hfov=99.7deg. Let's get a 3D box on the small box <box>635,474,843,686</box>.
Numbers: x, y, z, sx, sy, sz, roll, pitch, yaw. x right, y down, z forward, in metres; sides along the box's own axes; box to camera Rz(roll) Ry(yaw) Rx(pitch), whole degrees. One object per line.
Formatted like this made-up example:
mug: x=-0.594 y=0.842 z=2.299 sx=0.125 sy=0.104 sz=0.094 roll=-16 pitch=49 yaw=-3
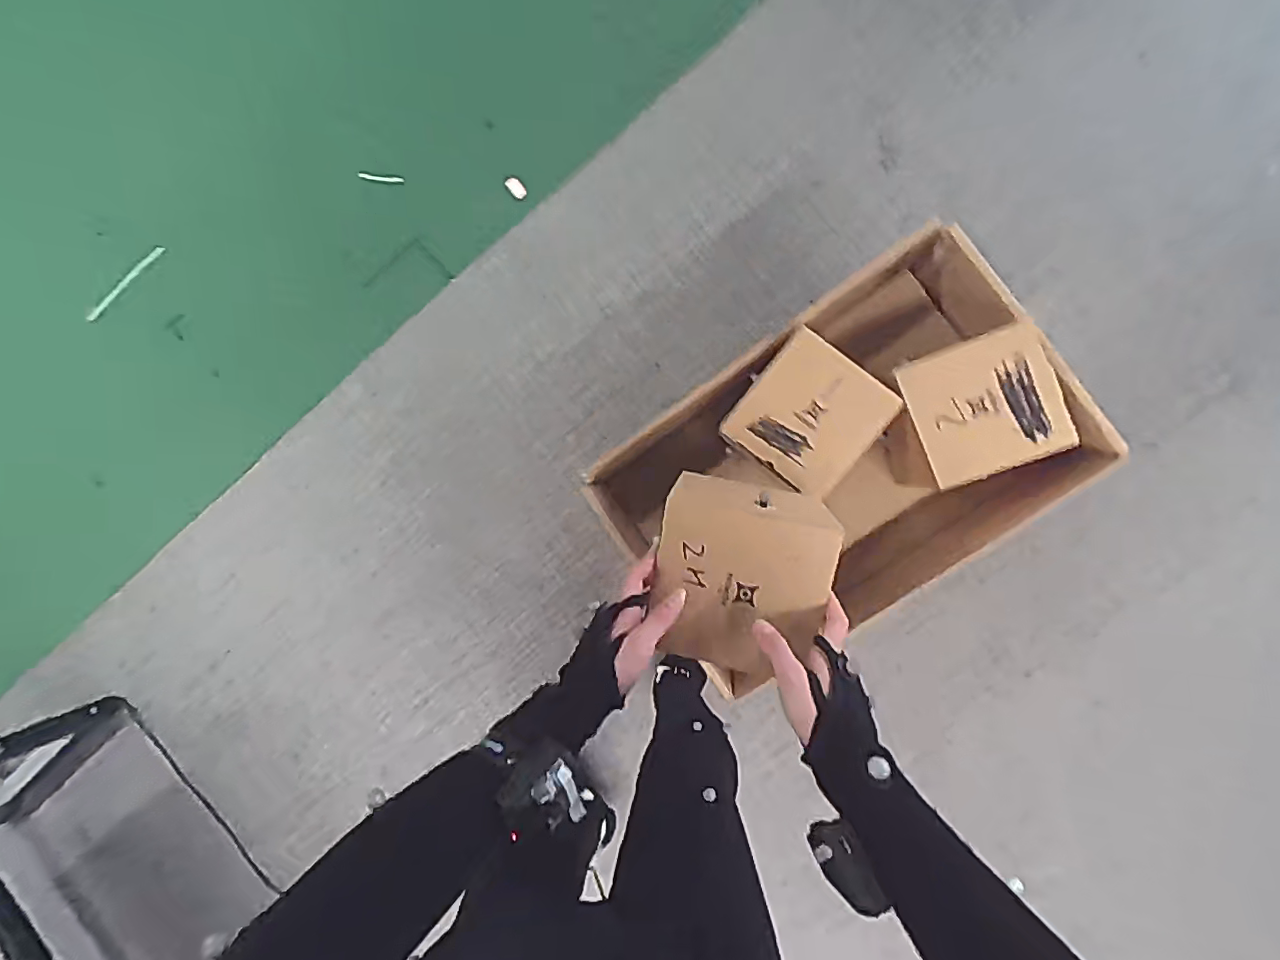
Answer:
small box: x=0.104 y=0.095 z=0.603 sx=0.179 sy=0.176 sz=0.168 roll=11 pitch=101 yaw=8
